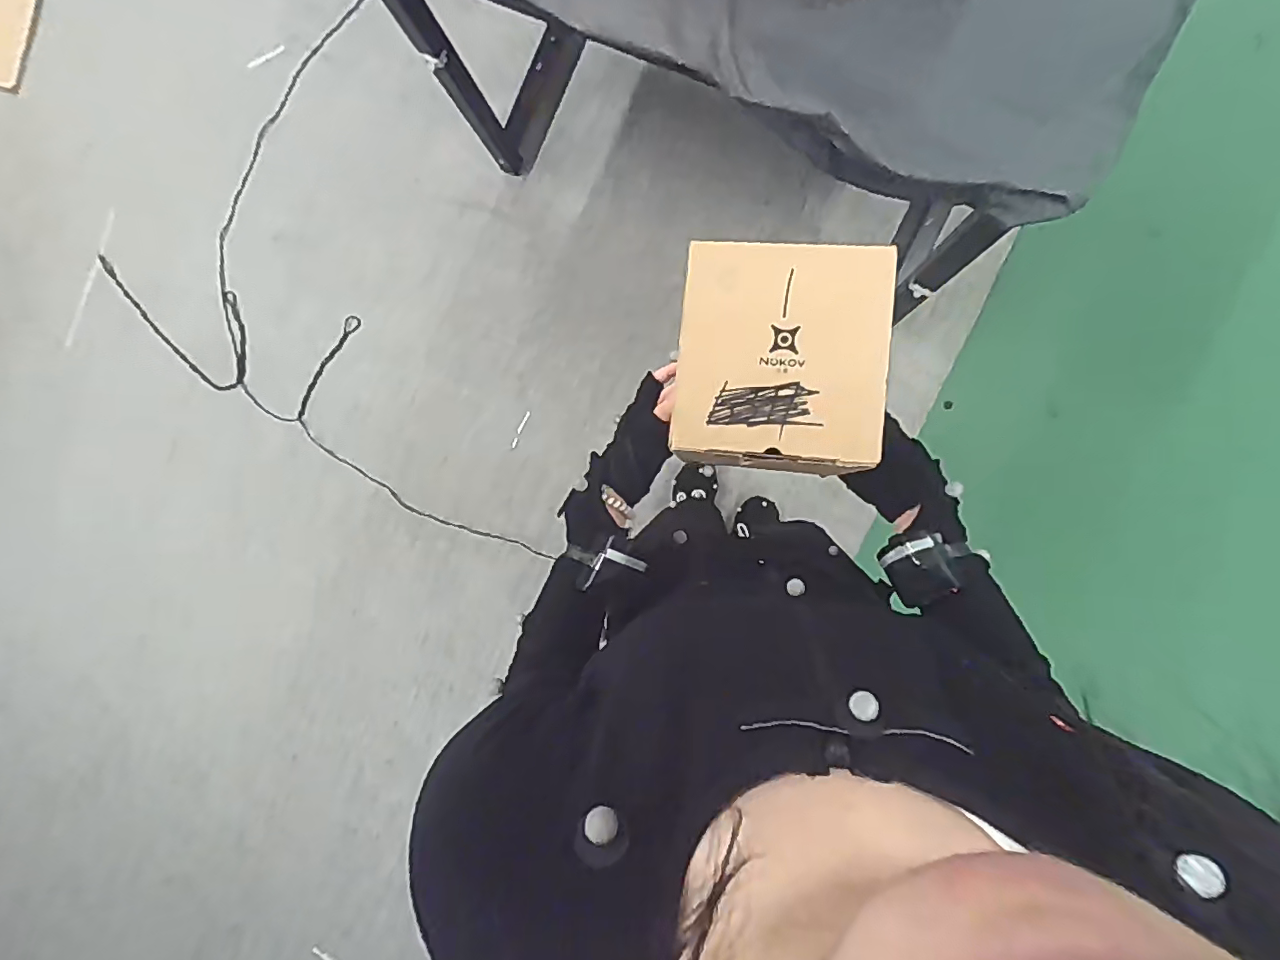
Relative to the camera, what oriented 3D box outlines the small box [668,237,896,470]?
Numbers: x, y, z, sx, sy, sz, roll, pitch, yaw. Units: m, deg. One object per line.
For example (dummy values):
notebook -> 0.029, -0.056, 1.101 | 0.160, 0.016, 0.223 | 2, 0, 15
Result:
small box -> 0.123, -0.104, 0.513 | 0.168, 0.176, 0.179 | 6, 89, 7
